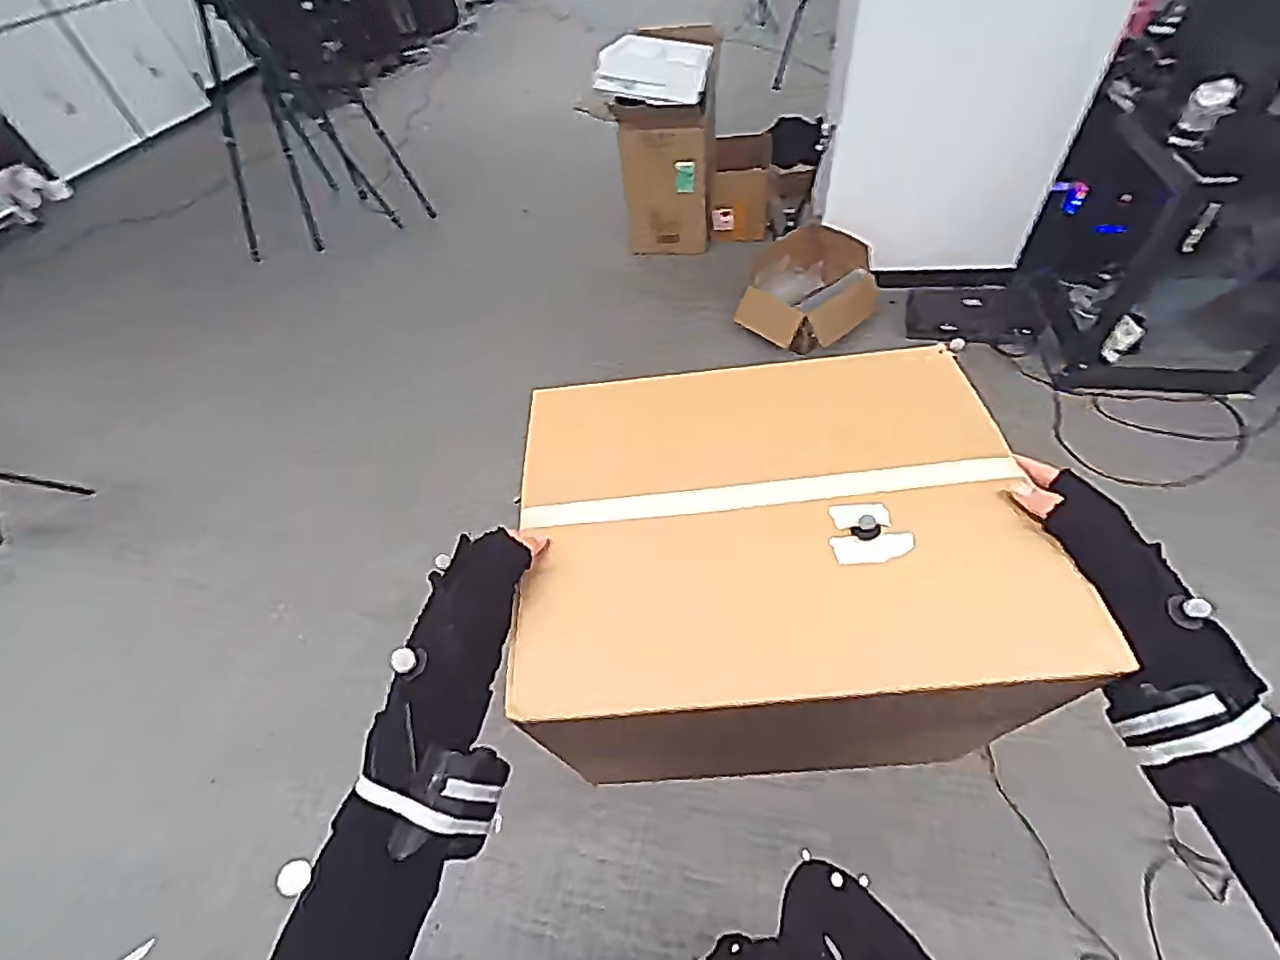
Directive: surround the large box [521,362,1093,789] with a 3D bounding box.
[{"bbox_3d":[0.114,0.114,0.577,0.408,0.320,0.320,-6,53,2],"label":"large box"}]
